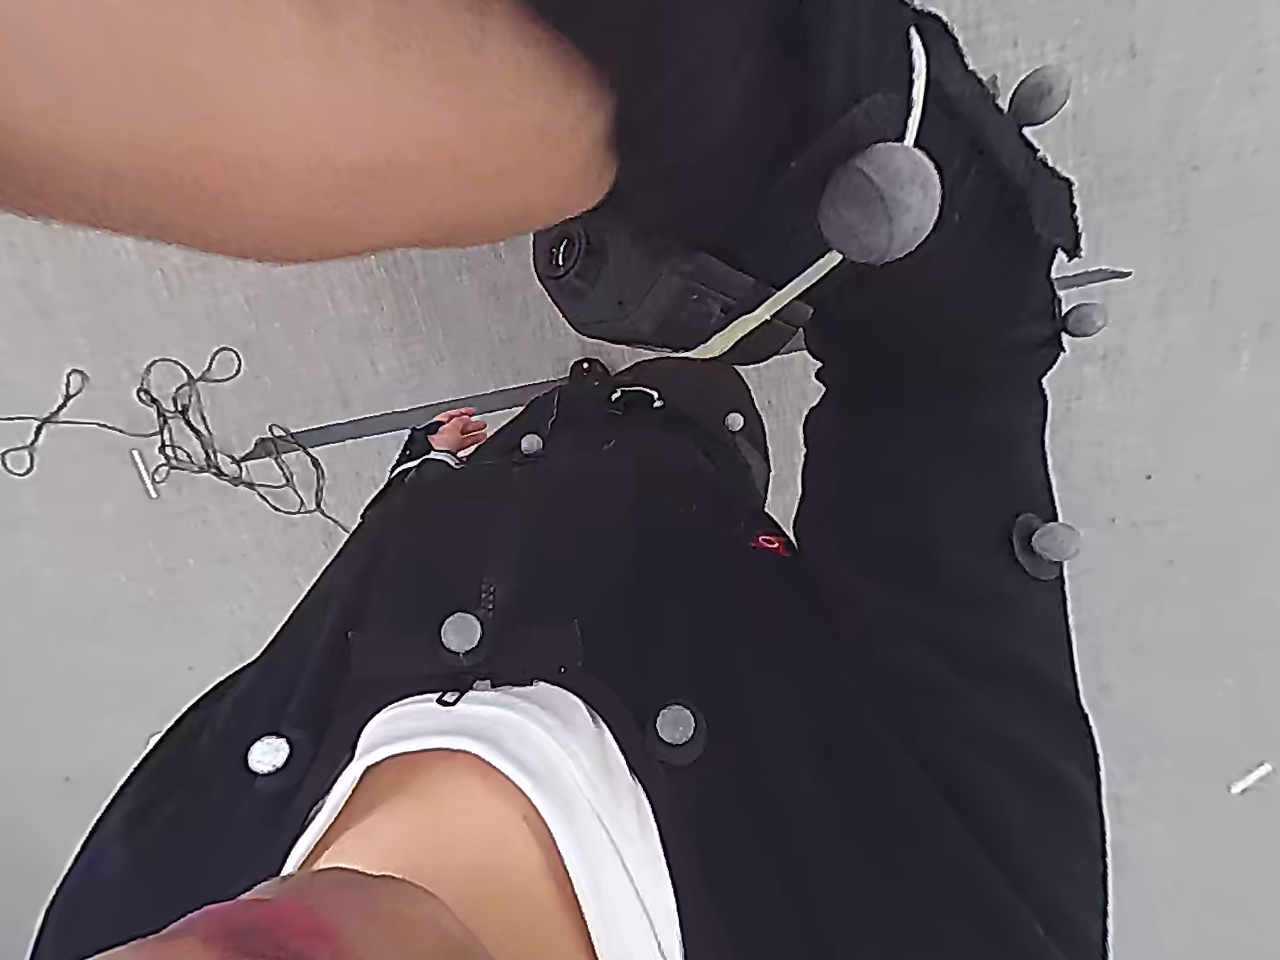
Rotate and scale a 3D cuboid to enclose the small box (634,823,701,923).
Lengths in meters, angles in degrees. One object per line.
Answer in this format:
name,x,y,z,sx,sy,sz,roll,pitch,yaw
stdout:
small box,0.086,1.168,1.613,0.168,0.176,0.179,-11,103,7
